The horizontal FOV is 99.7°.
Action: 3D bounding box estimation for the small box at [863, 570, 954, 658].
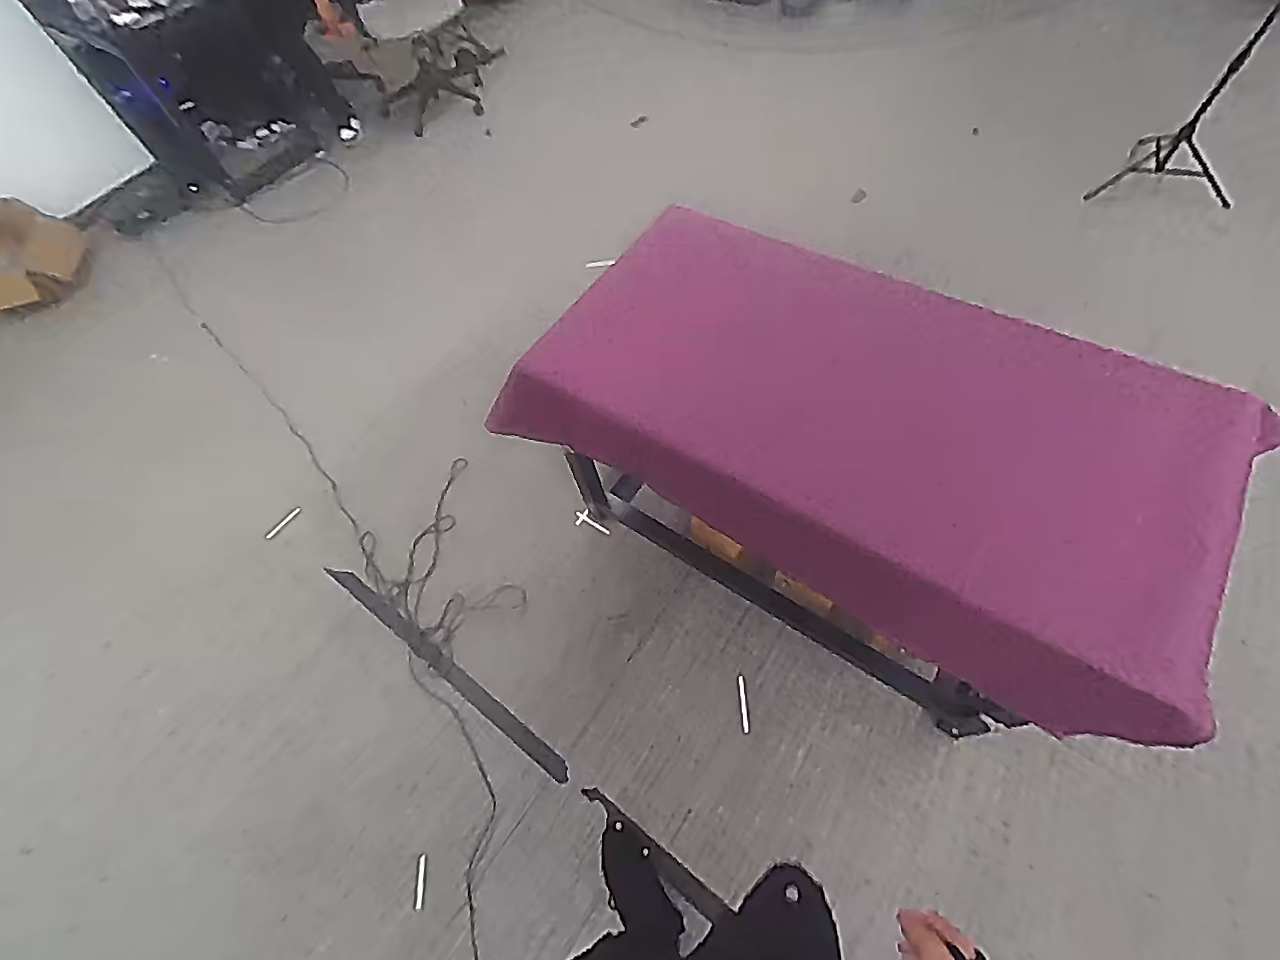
[{"bbox_3d":[0.699,0.356,1.430,0.168,0.176,0.179,2,60,9],"label":"small box"}]
